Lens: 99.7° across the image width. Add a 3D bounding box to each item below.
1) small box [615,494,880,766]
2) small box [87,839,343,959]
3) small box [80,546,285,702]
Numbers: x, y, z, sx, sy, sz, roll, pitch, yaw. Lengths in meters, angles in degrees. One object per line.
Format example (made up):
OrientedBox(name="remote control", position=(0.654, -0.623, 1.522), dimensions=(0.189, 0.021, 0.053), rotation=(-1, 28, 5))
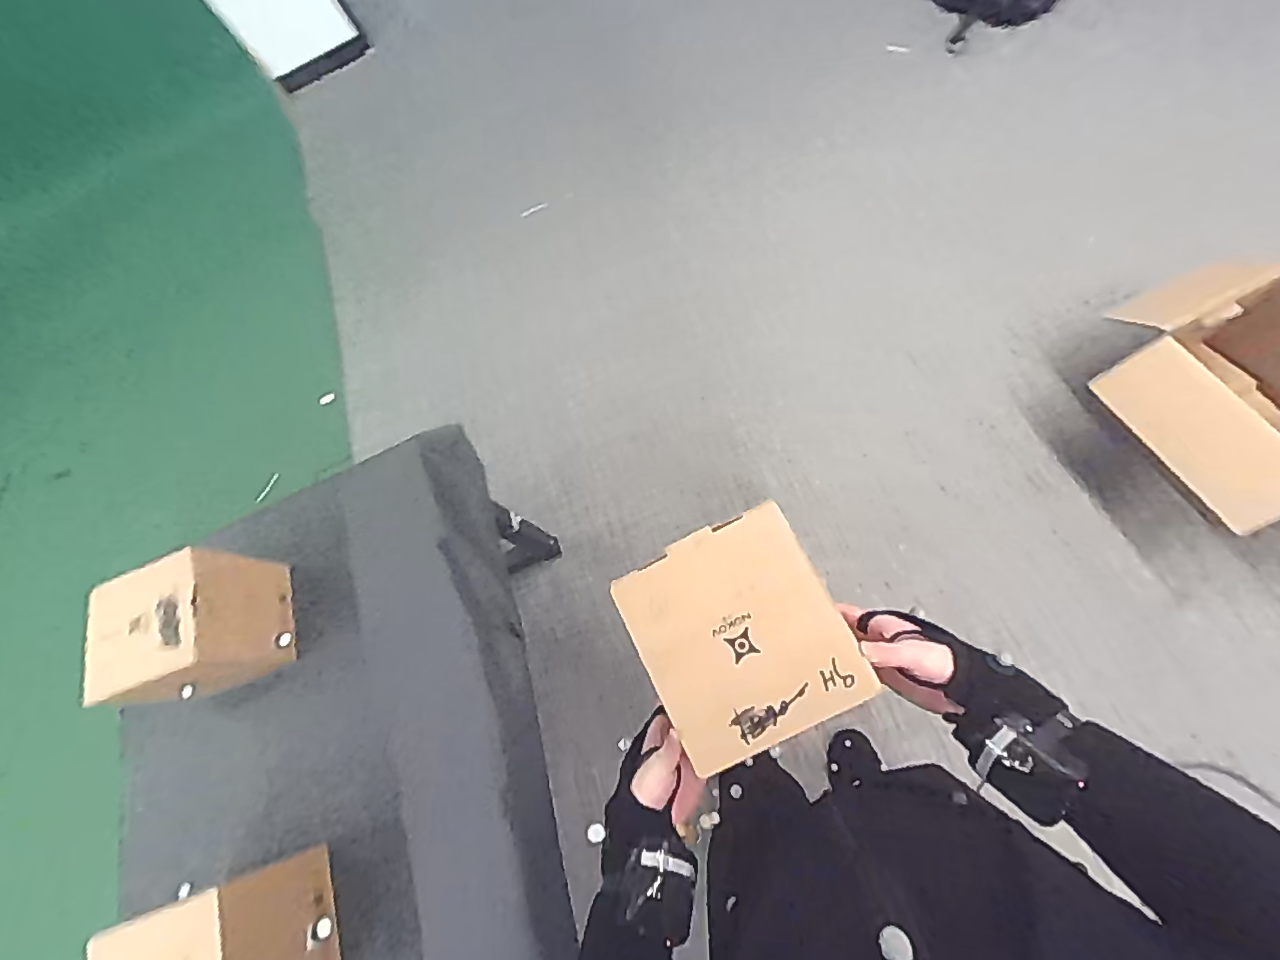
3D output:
OrientedBox(name="small box", position=(0.097, 0.136, 0.527), dimensions=(0.168, 0.176, 0.179), rotation=(-27, 76, 6))
OrientedBox(name="small box", position=(-0.502, 0.573, 0.652), dimensions=(0.179, 0.176, 0.168), rotation=(-24, 70, 3))
OrientedBox(name="small box", position=(-0.661, 0.214, 0.803), dimensions=(0.179, 0.176, 0.168), rotation=(-22, 69, 5))
